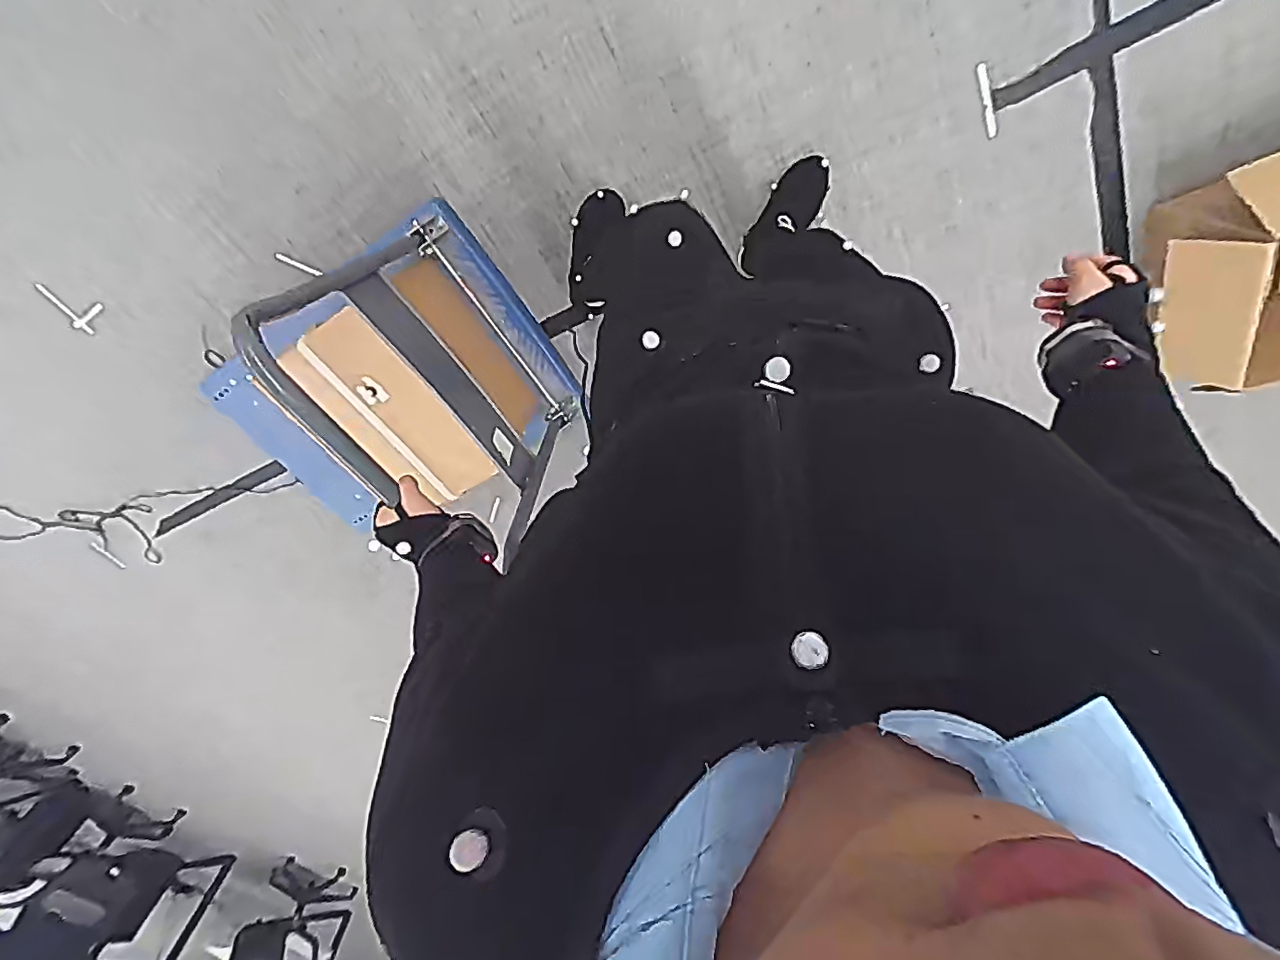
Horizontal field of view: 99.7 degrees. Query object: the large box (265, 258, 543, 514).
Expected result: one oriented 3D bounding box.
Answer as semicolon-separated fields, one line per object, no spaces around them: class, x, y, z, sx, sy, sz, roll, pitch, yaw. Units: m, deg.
large box;-0.483;-0.204;1.201;0.320;0.320;0.408;-25;119;21
